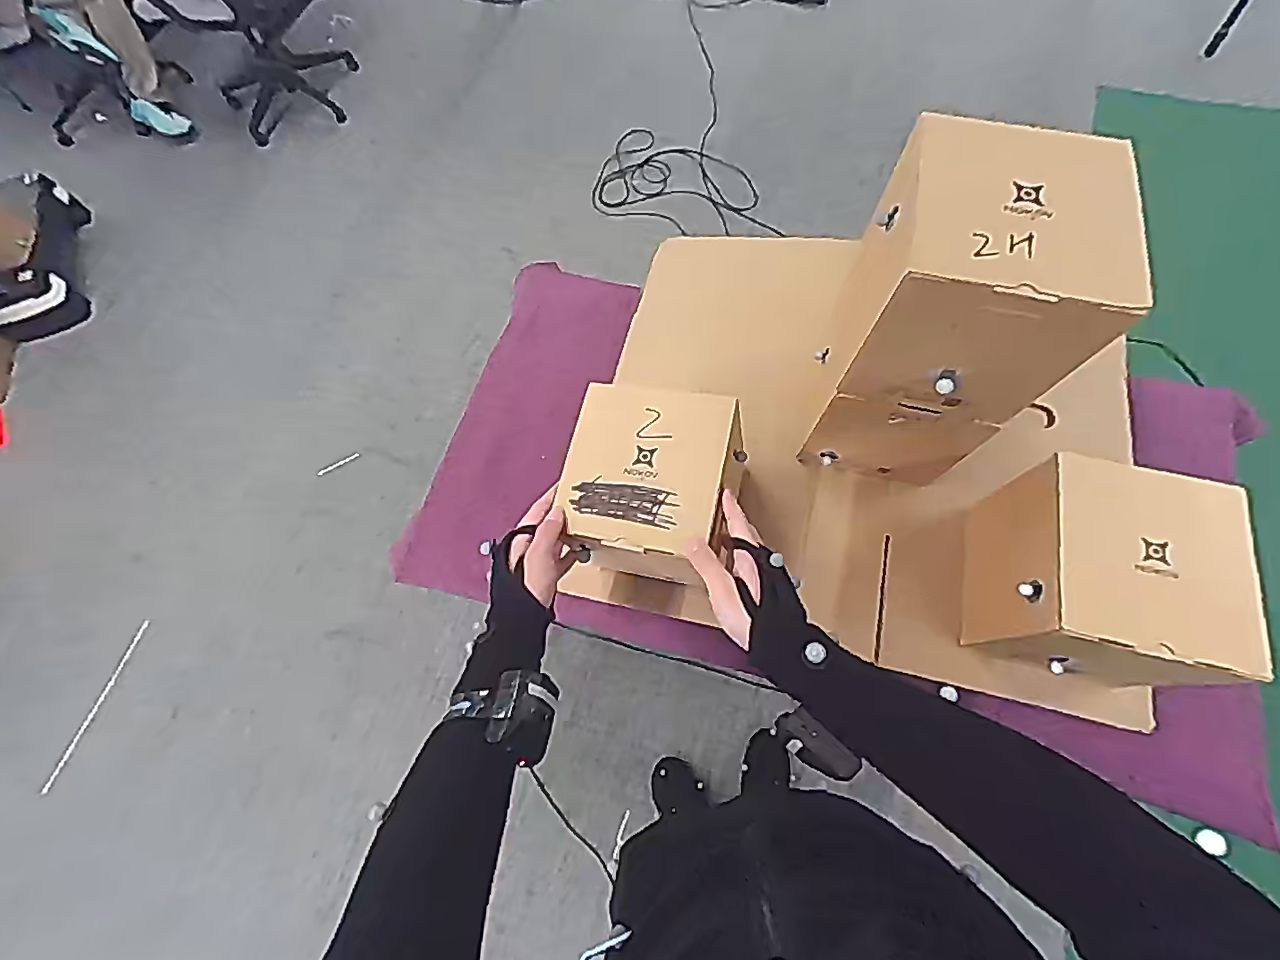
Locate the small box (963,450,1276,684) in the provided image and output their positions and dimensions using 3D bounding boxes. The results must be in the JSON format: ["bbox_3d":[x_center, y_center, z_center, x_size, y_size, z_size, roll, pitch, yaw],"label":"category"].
[{"bbox_3d":[0.455,0.096,0.546,0.168,0.176,0.179,13,70,6],"label":"small box"}]

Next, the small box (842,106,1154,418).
[{"bbox_3d":[0.294,-0.181,0.480,0.168,0.176,0.179,13,70,6],"label":"small box"}]

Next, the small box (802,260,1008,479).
[{"bbox_3d":[0.298,-0.119,0.632,0.168,0.176,0.179,13,69,6],"label":"small box"}]
